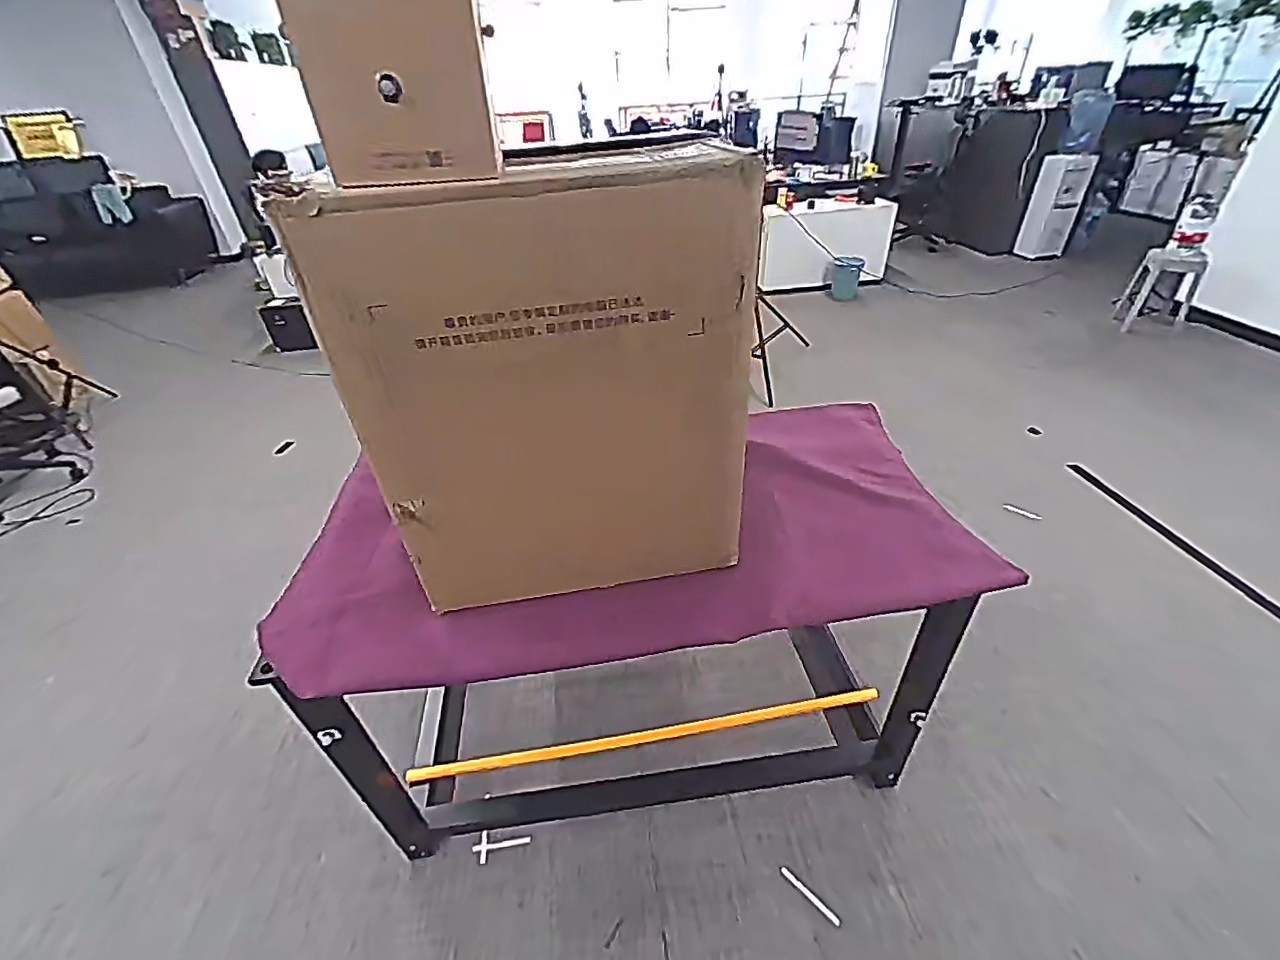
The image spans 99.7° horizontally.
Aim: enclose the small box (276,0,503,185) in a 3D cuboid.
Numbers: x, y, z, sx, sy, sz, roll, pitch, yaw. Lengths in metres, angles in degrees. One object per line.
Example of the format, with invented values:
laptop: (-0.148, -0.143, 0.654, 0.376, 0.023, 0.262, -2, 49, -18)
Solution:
small box: (-0.243, -0.417, 0.575, 0.168, 0.176, 0.179, -7, 36, -8)
